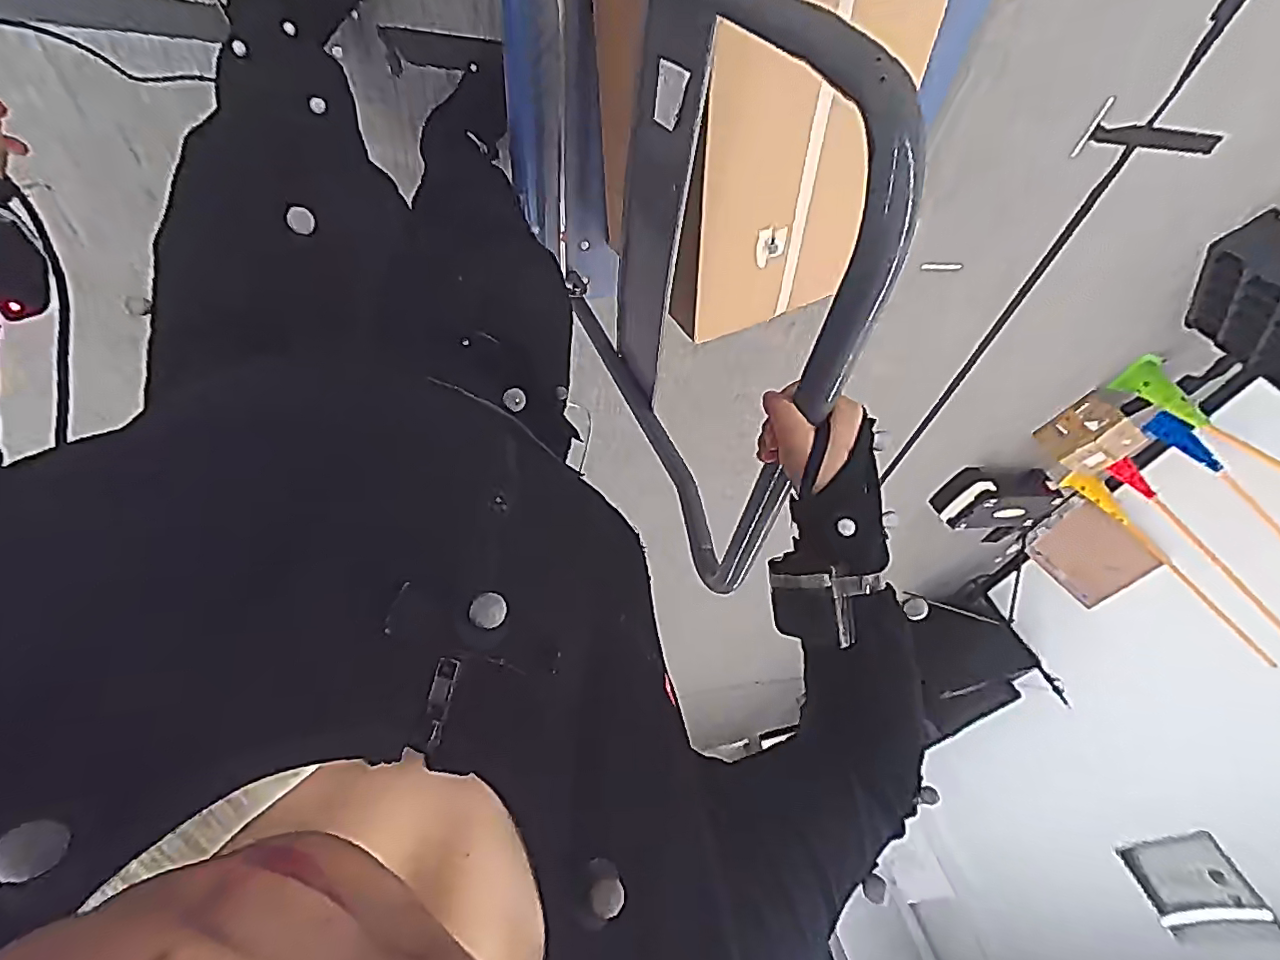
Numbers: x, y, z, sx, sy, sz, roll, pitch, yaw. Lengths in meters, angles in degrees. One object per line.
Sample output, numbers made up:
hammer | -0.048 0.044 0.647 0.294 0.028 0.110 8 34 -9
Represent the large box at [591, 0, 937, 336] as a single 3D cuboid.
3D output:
large box | 0.141 -0.502 0.792 0.320 0.320 0.408 -23 148 -14
